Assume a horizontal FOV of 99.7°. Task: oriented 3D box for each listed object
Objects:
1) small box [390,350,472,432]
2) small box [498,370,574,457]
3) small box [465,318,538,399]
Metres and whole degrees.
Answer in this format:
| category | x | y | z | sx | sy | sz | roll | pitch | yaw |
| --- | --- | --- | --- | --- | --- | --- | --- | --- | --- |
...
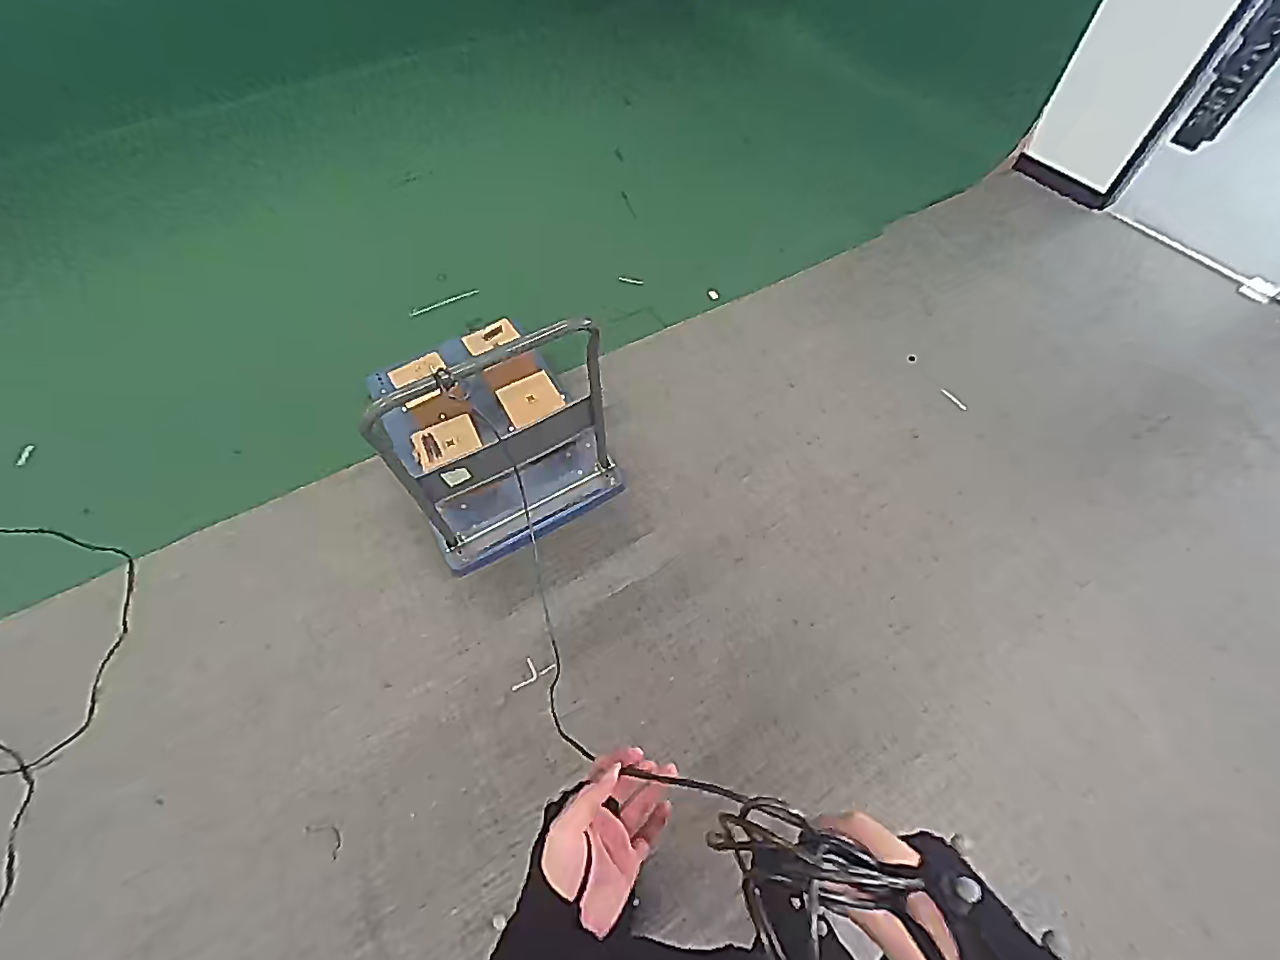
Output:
| category | x | y | z | sx | sy | sz | roll | pitch | yaw |
| --- | --- | --- | --- | --- | --- | --- | --- | --- | --- |
| small box | -0.663 | -0.276 | 1.734 | 0.168 | 0.176 | 0.179 | -30 | 62 | -17 |
| small box | -0.320 | -0.203 | 1.680 | 0.168 | 0.176 | 0.179 | -26 | 62 | -14 |
| small box | -0.456 | -0.400 | 1.804 | 0.168 | 0.176 | 0.179 | -31 | 64 | -15 |
